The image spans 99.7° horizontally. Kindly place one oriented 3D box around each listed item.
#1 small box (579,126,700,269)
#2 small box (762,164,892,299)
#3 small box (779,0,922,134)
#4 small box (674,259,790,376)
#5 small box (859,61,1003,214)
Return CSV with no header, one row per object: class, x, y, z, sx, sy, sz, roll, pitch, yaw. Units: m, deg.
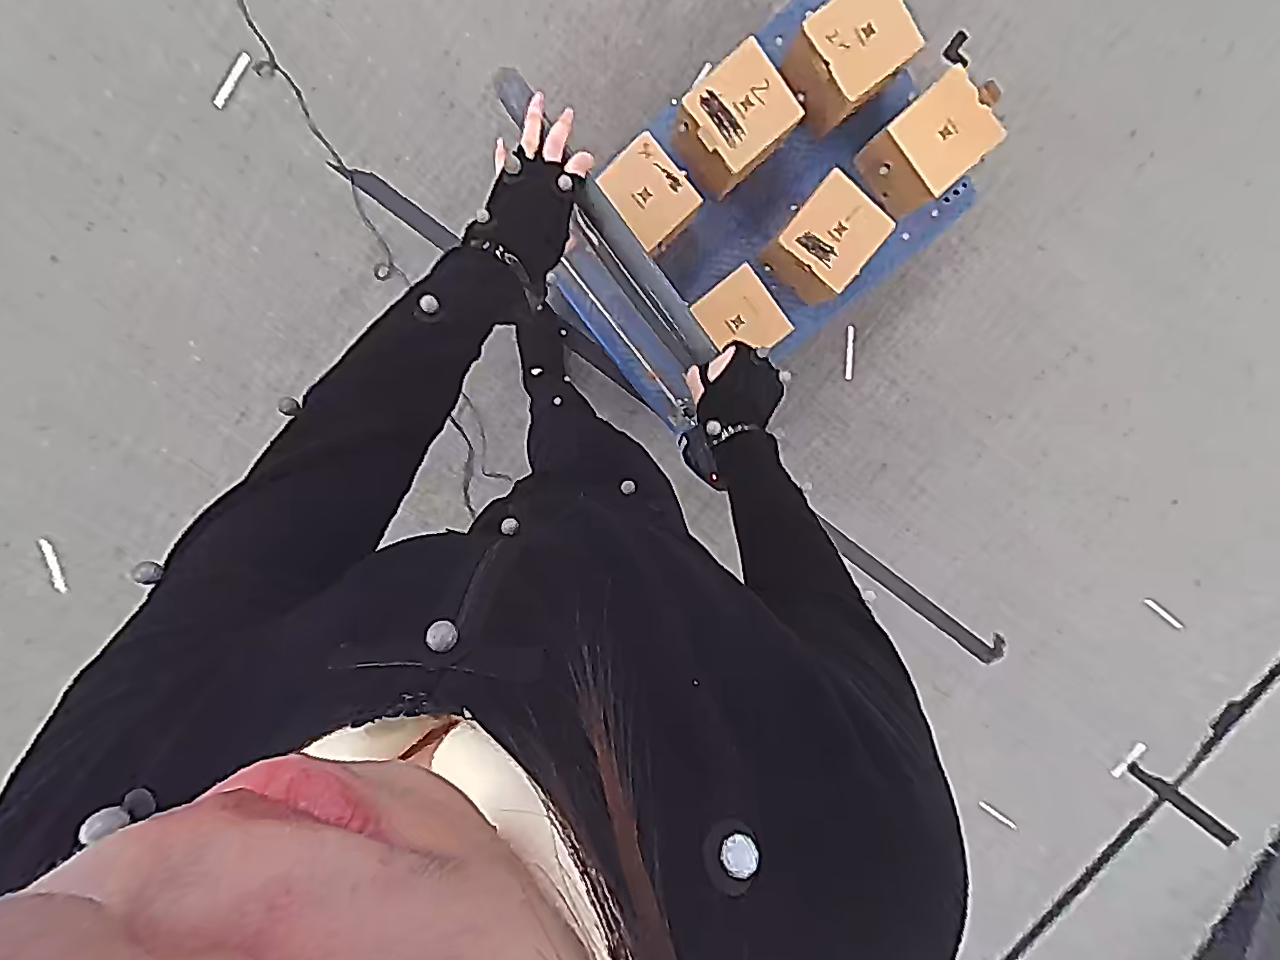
small box,-0.003,-0.562,1.107,0.179,0.176,0.168,-42,101,5
small box,0.379,-0.508,1.139,0.168,0.176,0.179,39,96,-9
small box,0.408,-0.844,1.075,0.179,0.176,0.168,-36,100,5
small box,0.186,-0.338,1.163,0.179,0.176,0.168,-38,101,4
small box,0.581,-0.690,1.115,0.179,0.176,0.168,-41,99,5
